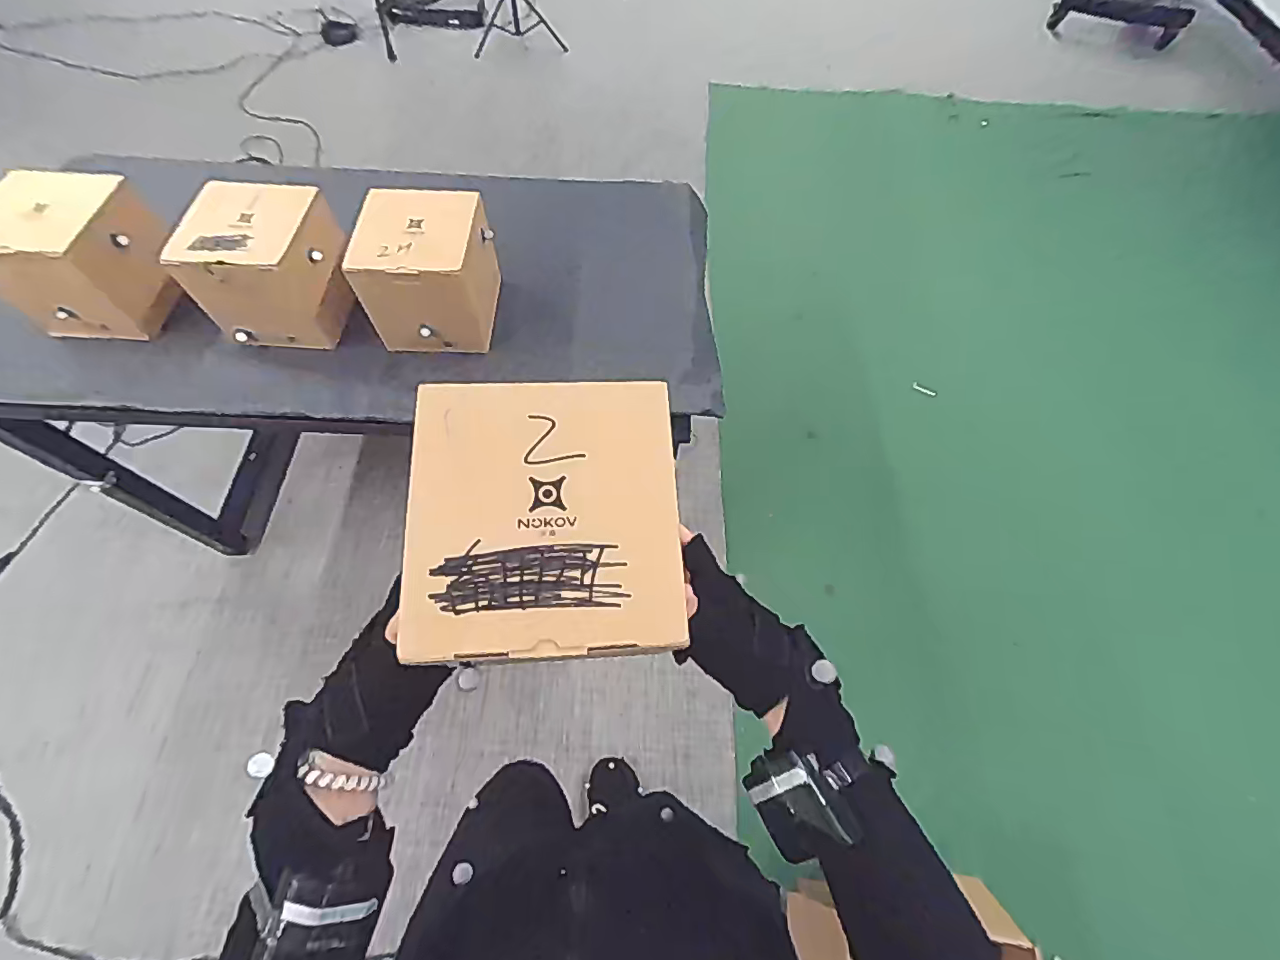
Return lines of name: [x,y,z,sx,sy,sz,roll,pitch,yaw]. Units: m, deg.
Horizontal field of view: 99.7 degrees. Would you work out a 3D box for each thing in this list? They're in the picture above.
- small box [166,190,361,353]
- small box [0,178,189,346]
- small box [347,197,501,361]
small box: [-0.566,-0.319,0.846,0.168,0.176,0.179,3,61,-1]
small box: [-0.854,-0.335,0.843,0.168,0.176,0.179,2,61,-2]
small box: [-0.323,-0.312,0.852,0.168,0.176,0.179,1,62,-1]
